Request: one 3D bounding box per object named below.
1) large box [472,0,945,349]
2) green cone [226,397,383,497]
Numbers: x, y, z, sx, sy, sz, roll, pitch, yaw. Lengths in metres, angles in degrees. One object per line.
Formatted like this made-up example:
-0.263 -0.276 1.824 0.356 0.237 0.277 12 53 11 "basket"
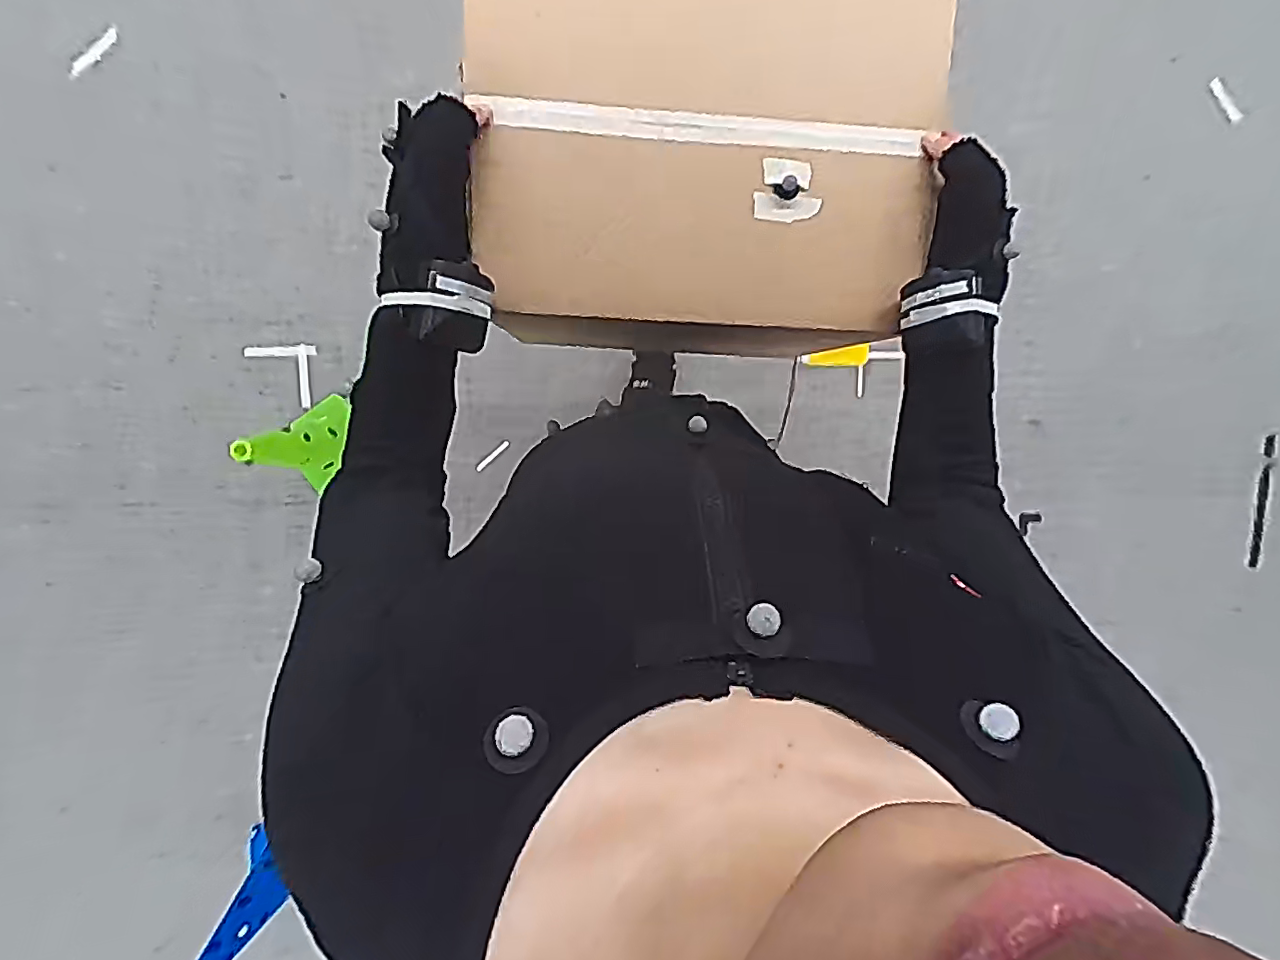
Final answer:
0.047 -0.322 0.607 0.408 0.320 0.320 1 99 -5 "large box"
-0.780 -0.069 1.212 0.202 0.368 0.200 -37 95 1 "green cone"
